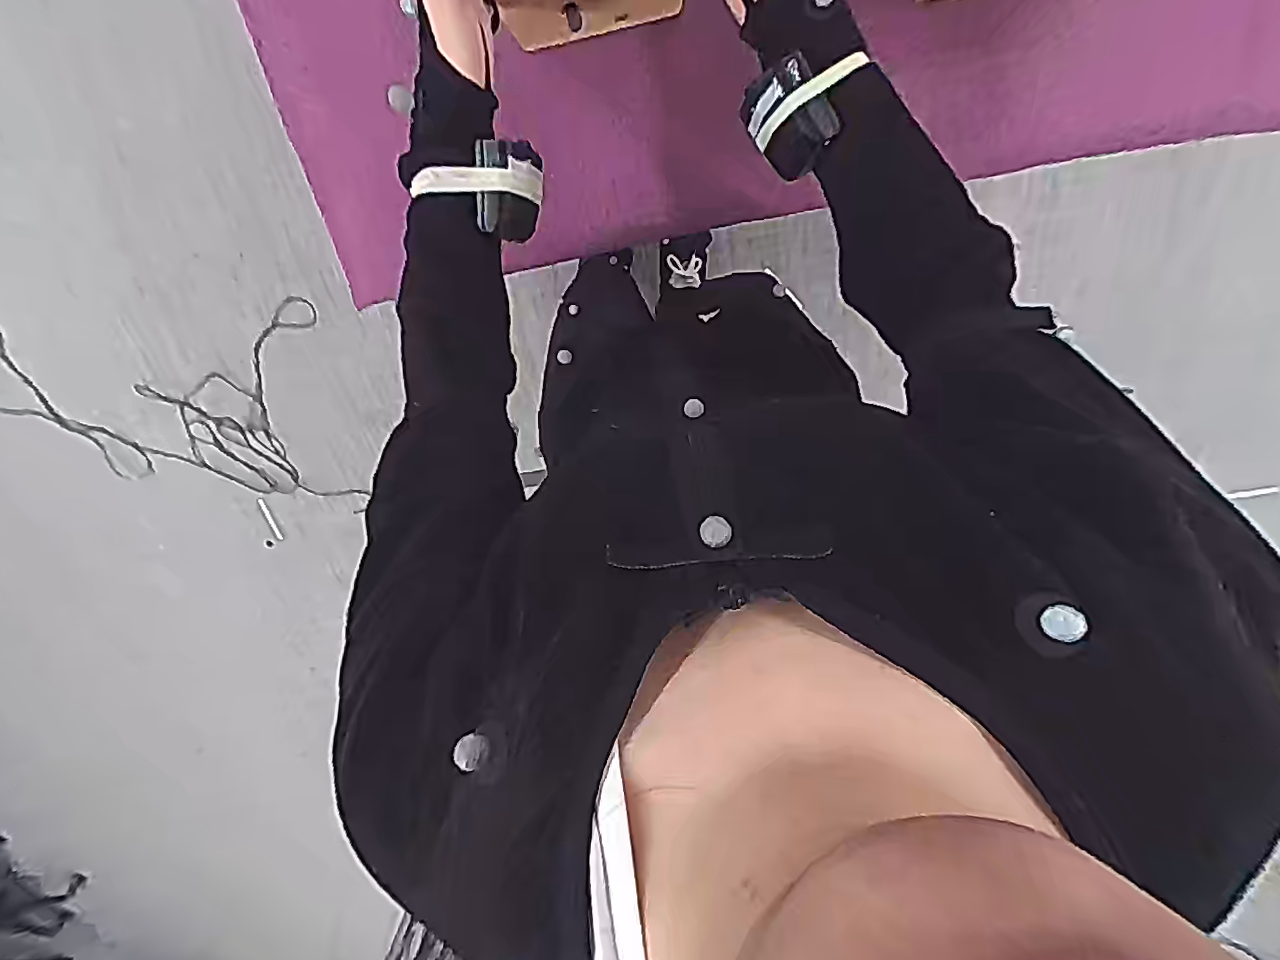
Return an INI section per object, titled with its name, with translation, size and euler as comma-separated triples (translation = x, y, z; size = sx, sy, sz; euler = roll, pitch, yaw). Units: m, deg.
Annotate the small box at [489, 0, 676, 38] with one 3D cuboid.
[small box]
translation = -0.057, -0.501, 0.445
size = 0.168, 0.176, 0.179
euler = -10, 115, 5
